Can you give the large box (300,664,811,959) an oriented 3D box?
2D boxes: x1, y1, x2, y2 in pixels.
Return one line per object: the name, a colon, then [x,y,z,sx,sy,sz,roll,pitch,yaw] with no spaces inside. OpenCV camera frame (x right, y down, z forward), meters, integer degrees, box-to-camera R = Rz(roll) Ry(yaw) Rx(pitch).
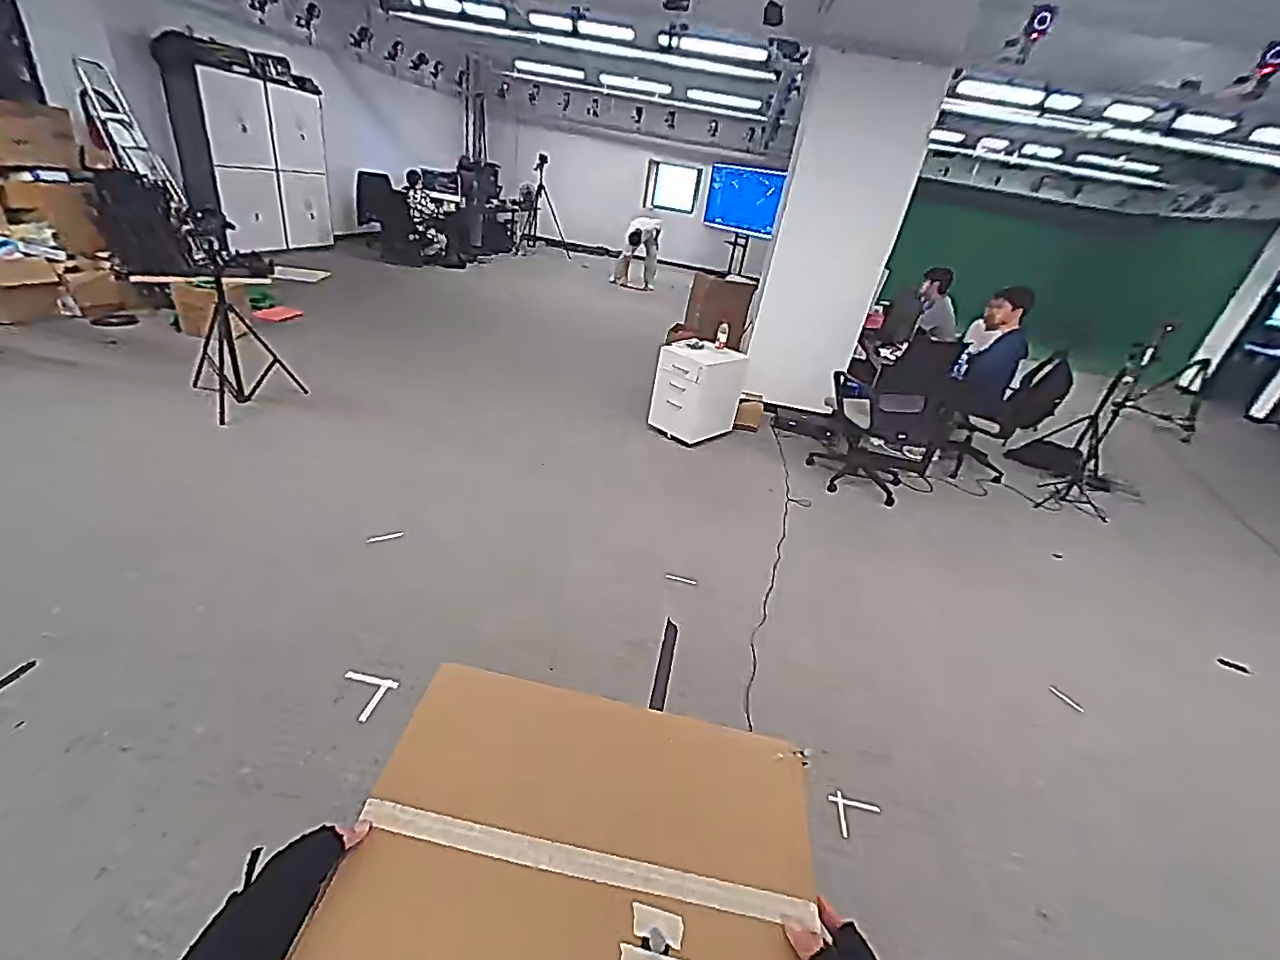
large box: [-0.070,0.453,0.574,0.408,0.320,0.320,13,38,2]
